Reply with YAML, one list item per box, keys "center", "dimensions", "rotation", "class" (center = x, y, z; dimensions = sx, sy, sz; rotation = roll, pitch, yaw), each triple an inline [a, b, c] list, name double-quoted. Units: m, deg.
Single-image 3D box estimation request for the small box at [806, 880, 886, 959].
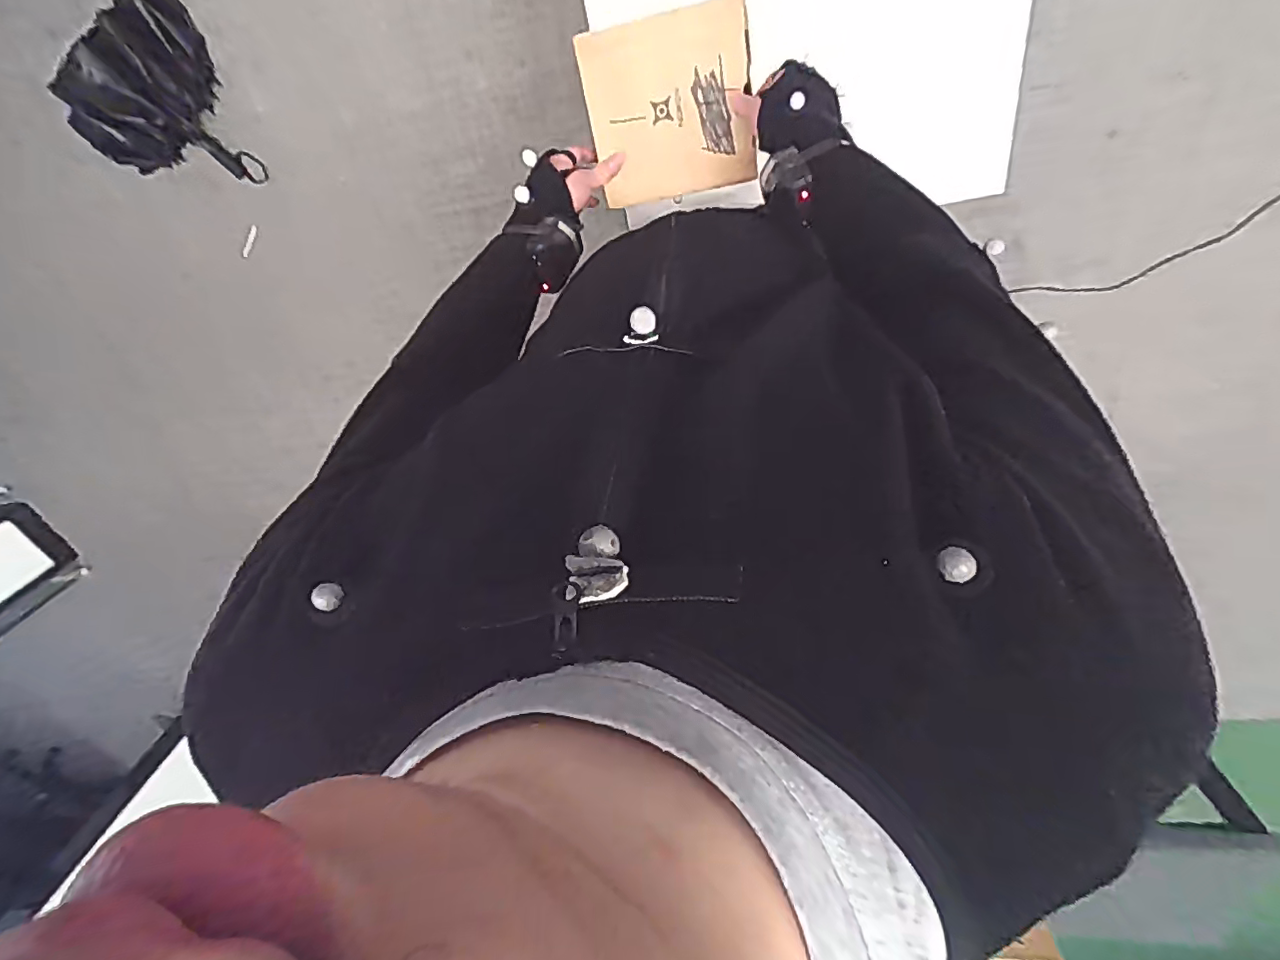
- center: [0.596, 1.303, 1.585]
  dimensions: [0.179, 0.176, 0.168]
  rotation: [-2, 123, 8]
  class: "small box"
